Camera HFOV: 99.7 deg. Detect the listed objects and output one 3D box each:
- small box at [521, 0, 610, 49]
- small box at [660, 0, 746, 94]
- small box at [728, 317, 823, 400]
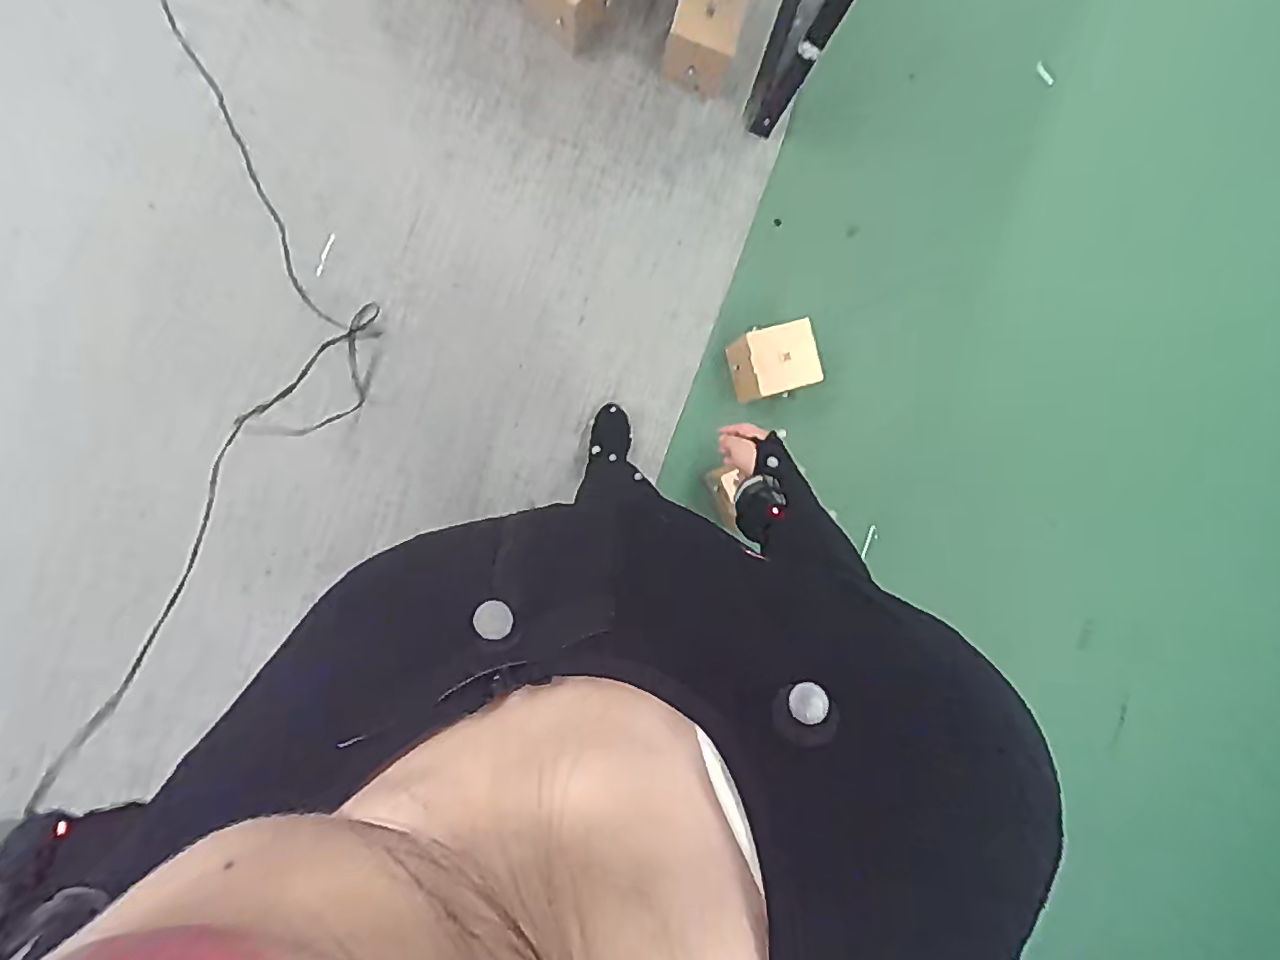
[{"bbox_3d":[-0.181,-1.222,1.333,0.179,0.176,0.168,40,86,-6],"label":"small box"},{"bbox_3d":[0.155,-1.142,1.381,0.168,0.176,0.179,14,90,-9],"label":"small box"},{"bbox_3d":[0.355,-0.318,1.443,0.179,0.176,0.168,-16,94,-6],"label":"small box"}]
